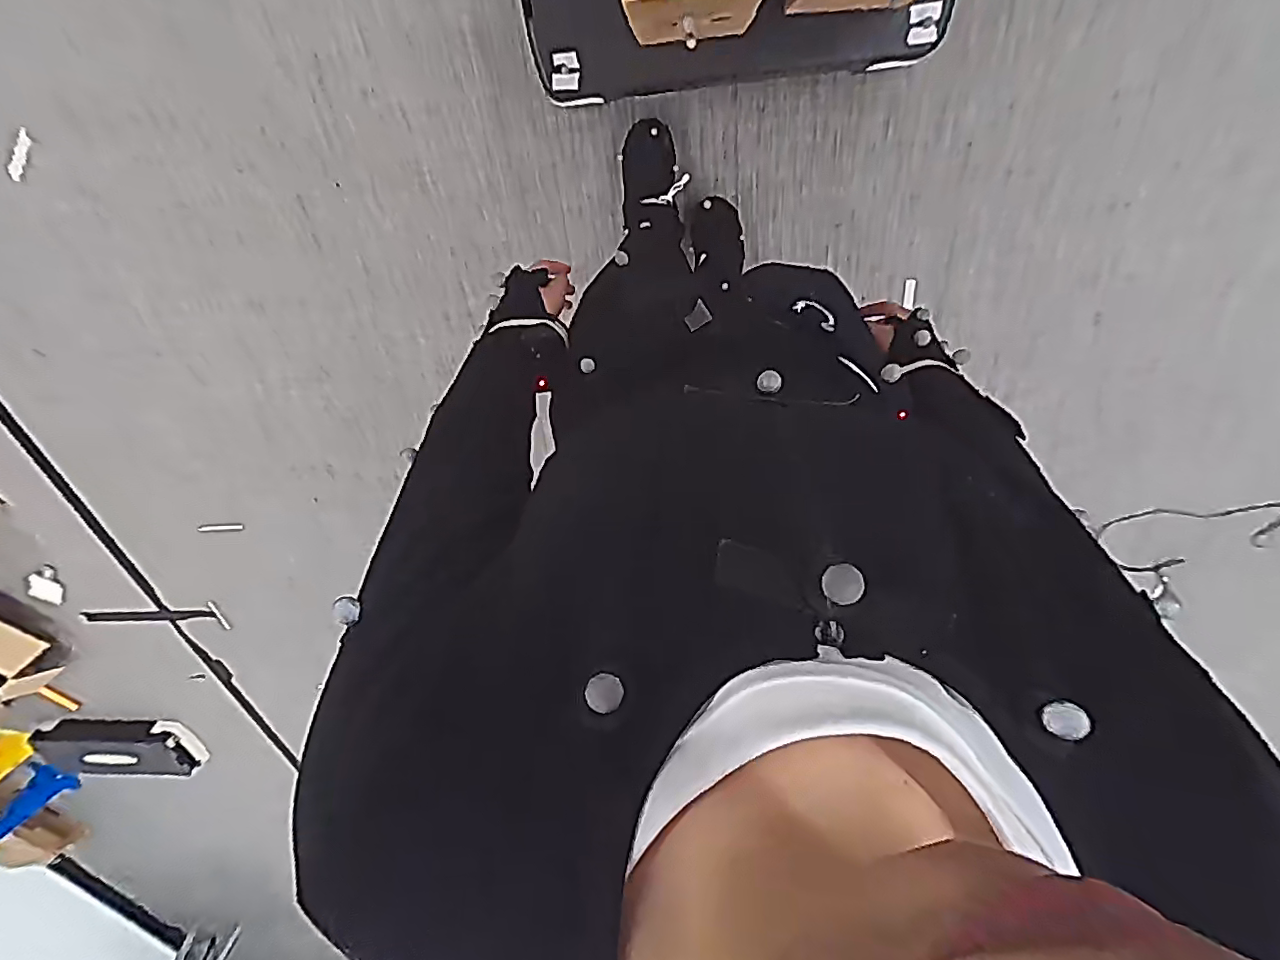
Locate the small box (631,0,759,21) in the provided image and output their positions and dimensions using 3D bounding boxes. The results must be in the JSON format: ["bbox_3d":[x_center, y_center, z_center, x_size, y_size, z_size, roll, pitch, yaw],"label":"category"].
[{"bbox_3d":[0.060,-0.636,0.591,0.168,0.176,0.179,-2,123,5],"label":"small box"}]

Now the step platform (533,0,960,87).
[{"bbox_3d":[0.161,-0.838,0.857,0.684,0.204,0.286,-3,123,6],"label":"step platform"}]

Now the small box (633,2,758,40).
[{"bbox_3d":[0.071,-0.724,0.730,0.168,0.176,0.179,-2,123,5],"label":"small box"}]
